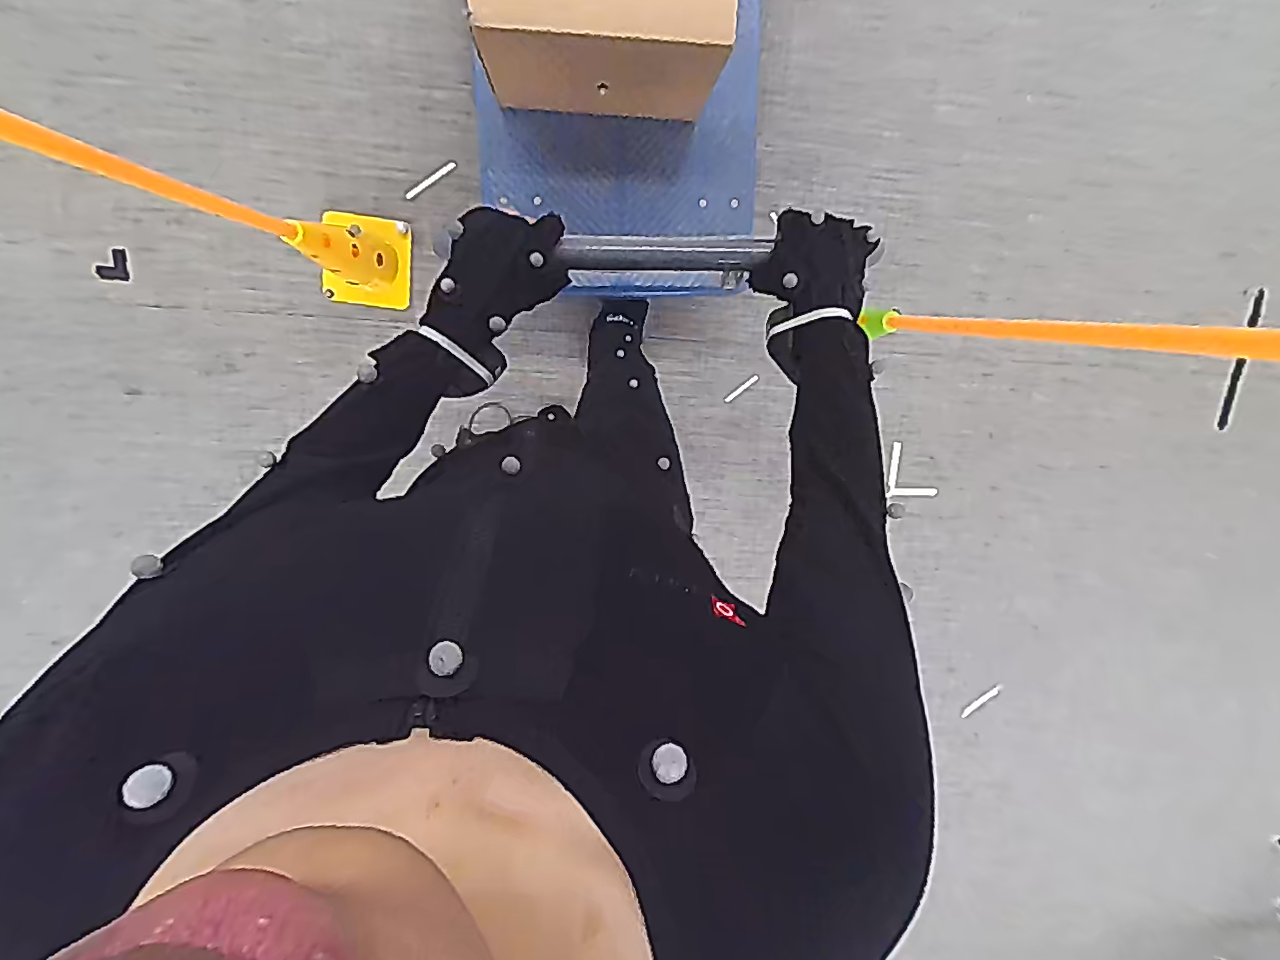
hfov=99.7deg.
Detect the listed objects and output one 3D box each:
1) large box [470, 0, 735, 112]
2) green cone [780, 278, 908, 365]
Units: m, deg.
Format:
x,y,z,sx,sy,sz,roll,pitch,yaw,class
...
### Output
x,y,z,sx,sy,sz,roll,pitch,yaw,class
-0.061,-0.861,0.921,0.408,0.320,0.320,0,105,-5,large box
0.491,-0.369,1.246,0.202,0.368,0.200,6,104,-8,green cone
